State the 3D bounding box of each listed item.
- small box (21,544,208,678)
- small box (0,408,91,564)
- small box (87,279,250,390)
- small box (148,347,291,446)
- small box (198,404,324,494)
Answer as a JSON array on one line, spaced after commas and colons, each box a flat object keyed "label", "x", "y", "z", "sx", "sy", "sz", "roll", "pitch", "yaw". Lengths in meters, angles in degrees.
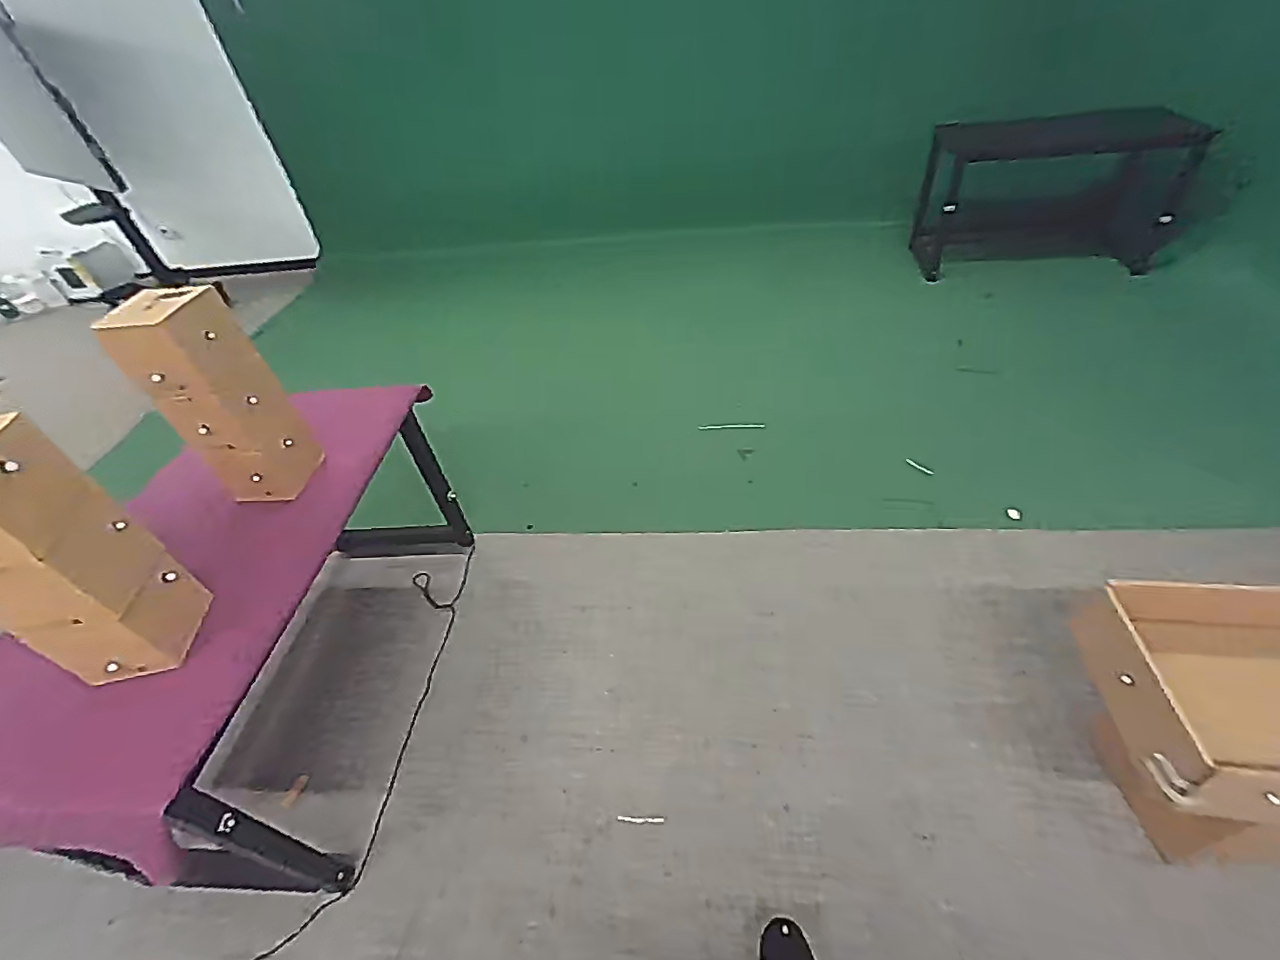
[{"label": "small box", "x": -0.997, "y": 0.254, "z": 1.052, "sx": 0.168, "sy": 0.176, "sz": 0.179, "roll": -11, "pitch": 44, "yaw": -3}, {"label": "small box", "x": -1.020, "y": 0.017, "z": 0.829, "sx": 0.168, "sy": 0.176, "sz": 0.179, "roll": -11, "pitch": 44, "yaw": -5}, {"label": "small box", "x": -0.994, "y": -0.312, "z": 1.165, "sx": 0.168, "sy": 0.176, "sz": 0.179, "roll": -2, "pitch": 45, "yaw": 6}, {"label": "small box", "x": -0.977, "y": -0.194, "z": 1.279, "sx": 0.168, "sy": 0.176, "sz": 0.179, "roll": -1, "pitch": 45, "yaw": 6}, {"label": "small box", "x": -0.959, "y": -0.077, "z": 1.392, "sx": 0.168, "sy": 0.176, "sz": 0.179, "roll": 0, "pitch": 44, "yaw": 8}]
